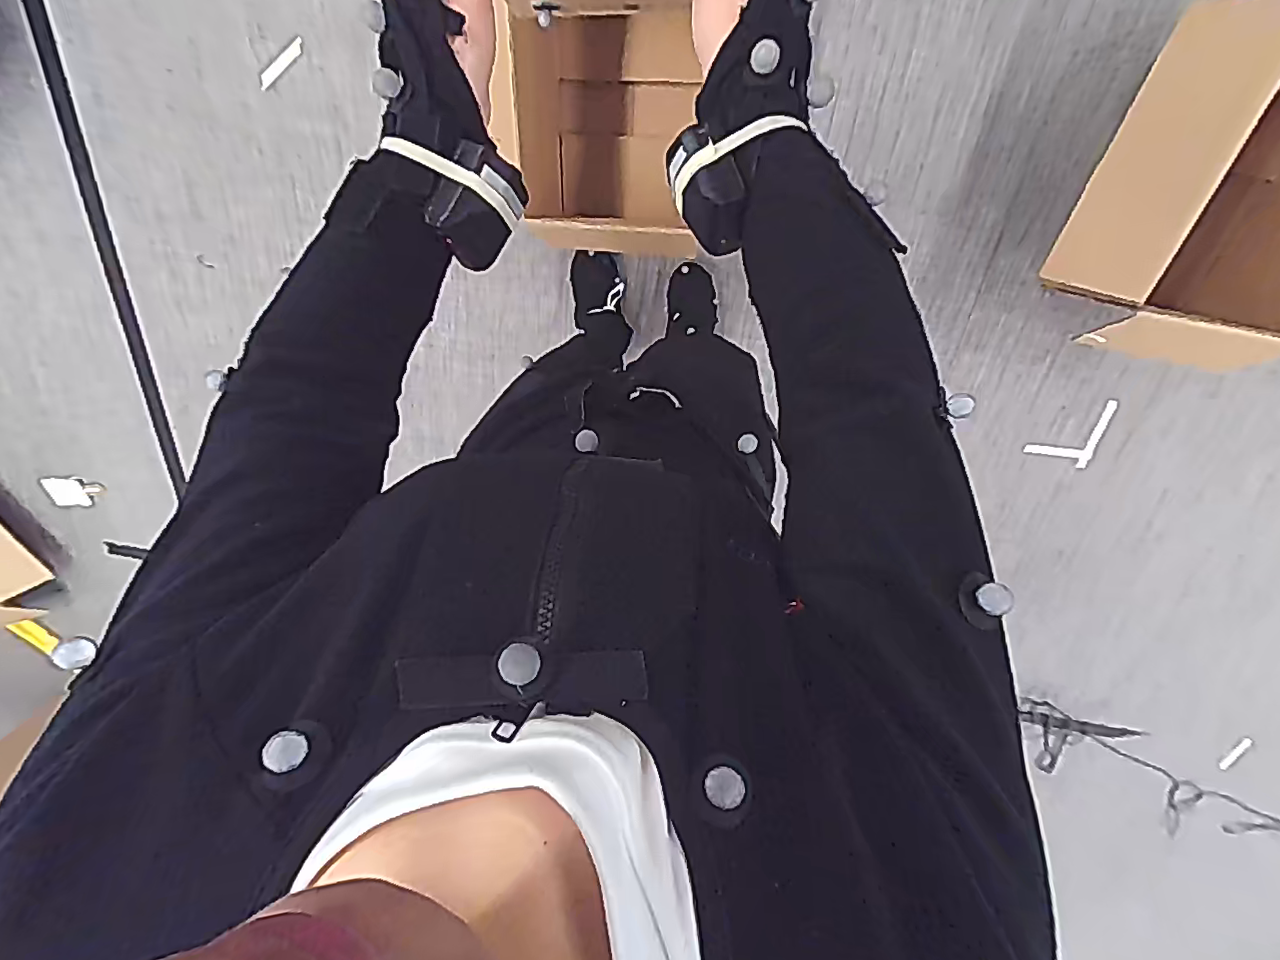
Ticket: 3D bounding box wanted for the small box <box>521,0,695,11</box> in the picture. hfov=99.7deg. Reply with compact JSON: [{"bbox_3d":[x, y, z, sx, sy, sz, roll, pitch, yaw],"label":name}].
[{"bbox_3d":[-0.032,-0.450,0.366,0.168,0.176,0.179,-1,116,0],"label":"small box"}]
